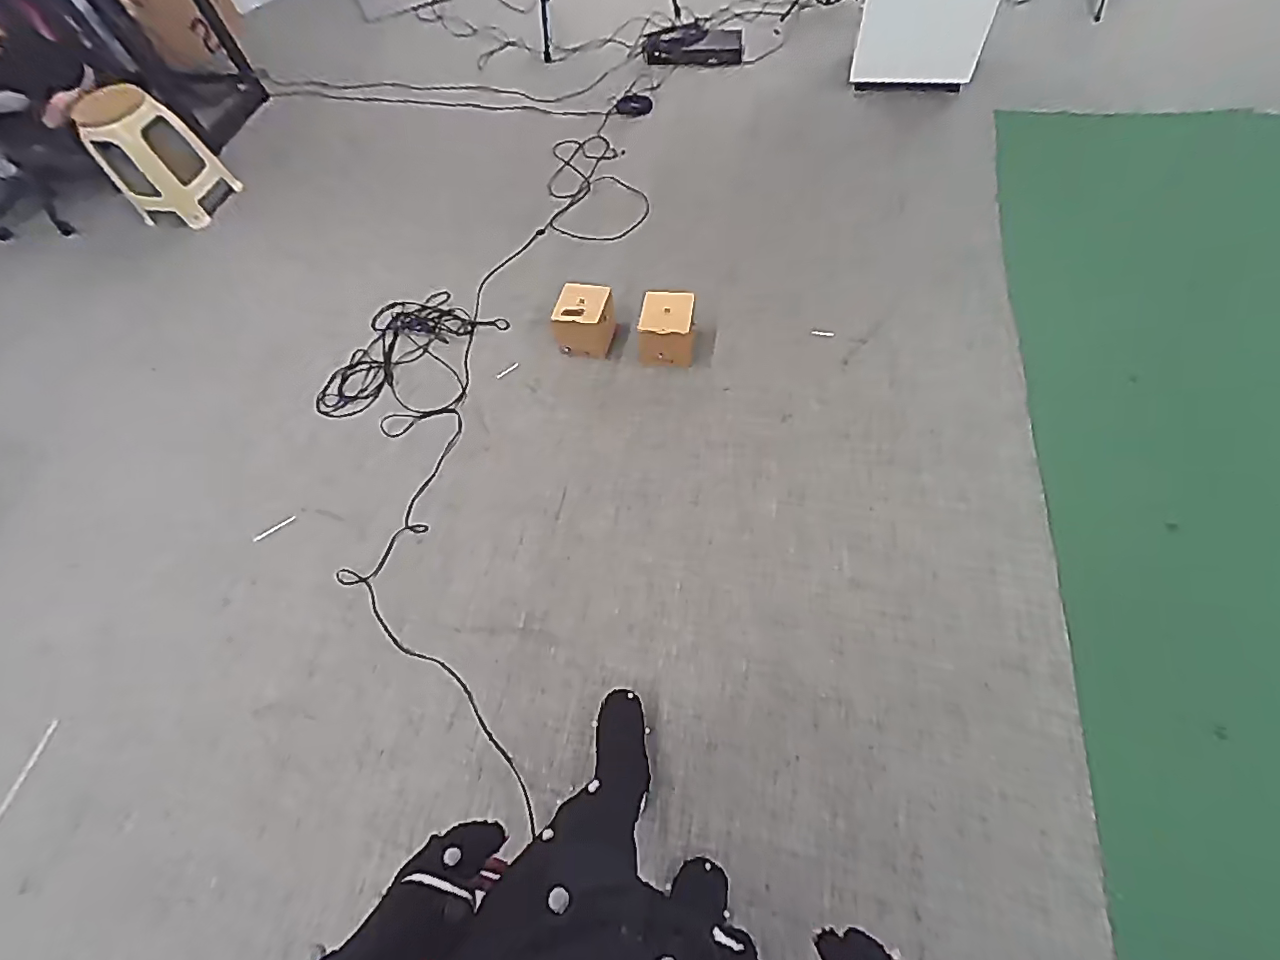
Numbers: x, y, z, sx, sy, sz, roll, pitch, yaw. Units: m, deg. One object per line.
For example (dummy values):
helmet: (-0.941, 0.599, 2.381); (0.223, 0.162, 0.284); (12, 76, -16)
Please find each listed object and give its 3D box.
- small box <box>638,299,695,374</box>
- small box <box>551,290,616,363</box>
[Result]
small box: (0.093, -0.484, 1.823); (0.168, 0.176, 0.179); (5, 62, 10)
small box: (-0.189, -0.529, 1.879); (0.168, 0.176, 0.179); (10, 62, 12)
